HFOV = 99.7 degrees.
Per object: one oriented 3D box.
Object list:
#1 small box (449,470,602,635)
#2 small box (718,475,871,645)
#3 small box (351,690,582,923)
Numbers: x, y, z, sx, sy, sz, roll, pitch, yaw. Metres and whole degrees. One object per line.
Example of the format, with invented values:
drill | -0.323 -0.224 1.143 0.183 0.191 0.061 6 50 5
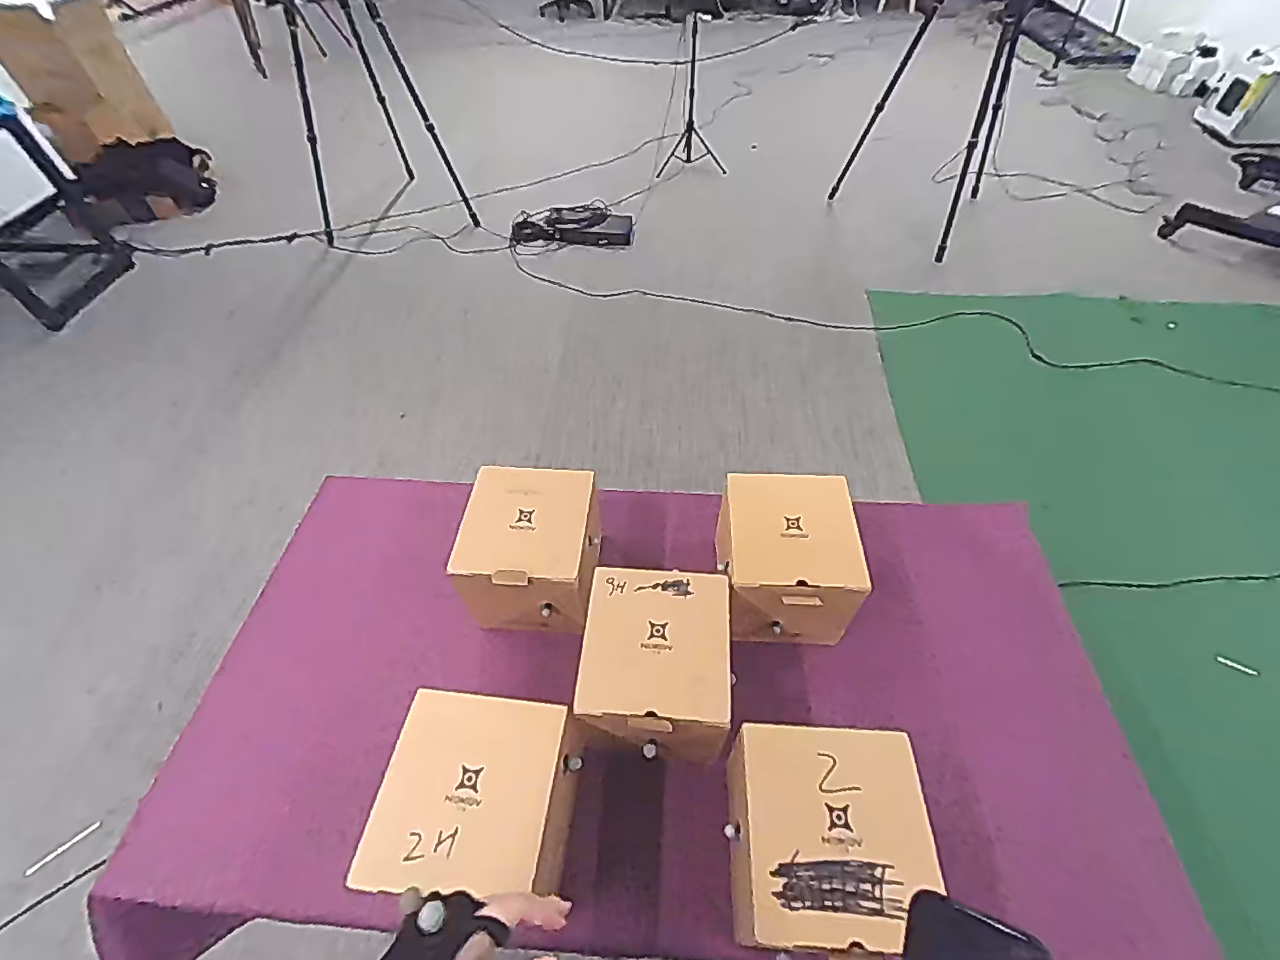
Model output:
small box | -0.149 0.108 0.777 0.168 0.176 0.179 3 51 3
small box | 0.200 0.113 0.761 0.168 0.176 0.179 1 52 3
small box | -0.161 0.349 0.578 0.168 0.176 0.179 5 51 6
